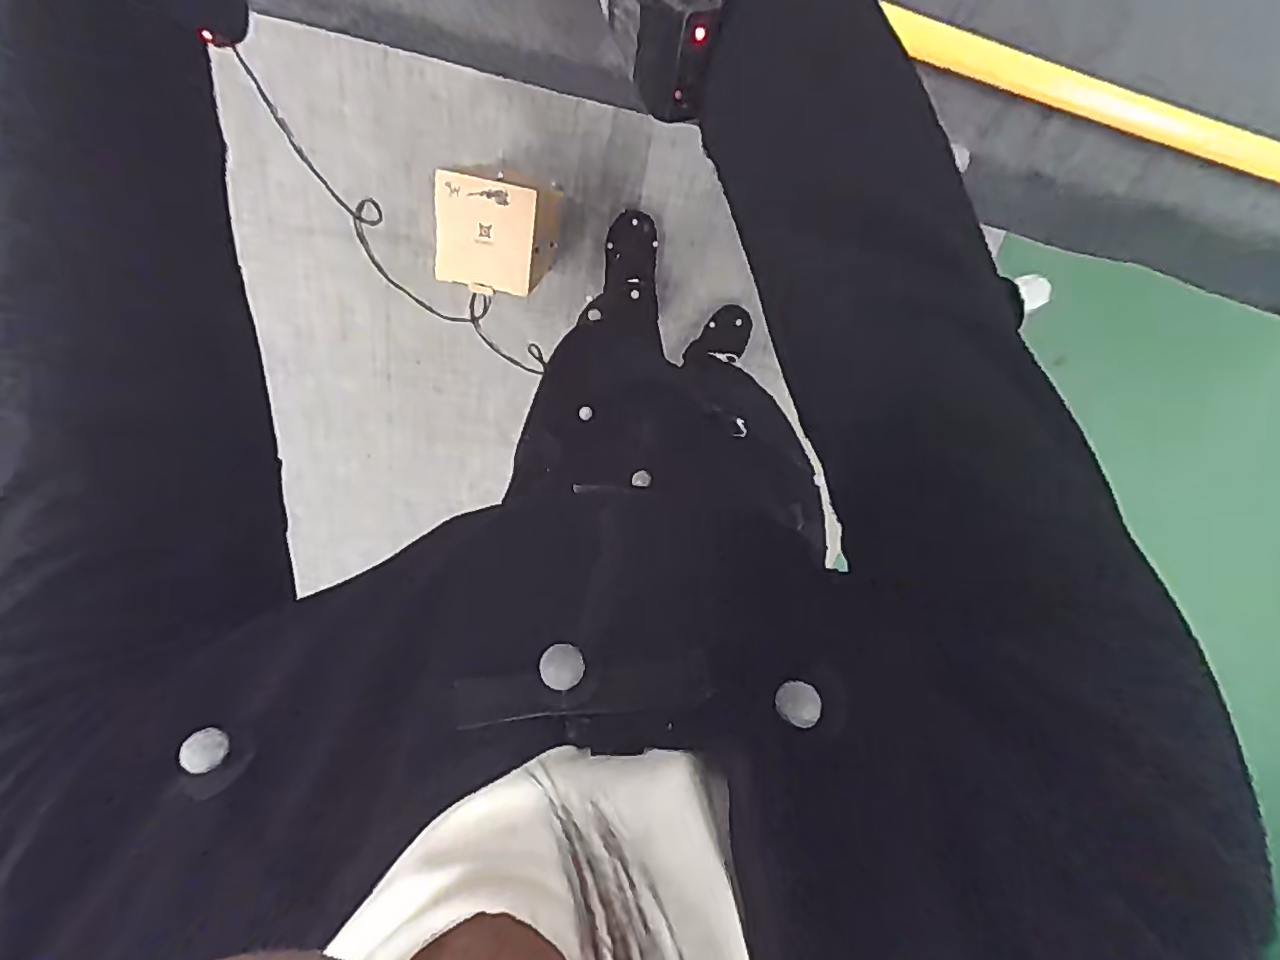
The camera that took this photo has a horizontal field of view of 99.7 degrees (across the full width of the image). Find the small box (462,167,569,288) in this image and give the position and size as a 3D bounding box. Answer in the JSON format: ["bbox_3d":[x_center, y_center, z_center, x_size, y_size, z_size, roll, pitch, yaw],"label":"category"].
[{"bbox_3d":[-0.251,-0.531,1.126,0.168,0.176,0.179,18,121,-9],"label":"small box"}]
